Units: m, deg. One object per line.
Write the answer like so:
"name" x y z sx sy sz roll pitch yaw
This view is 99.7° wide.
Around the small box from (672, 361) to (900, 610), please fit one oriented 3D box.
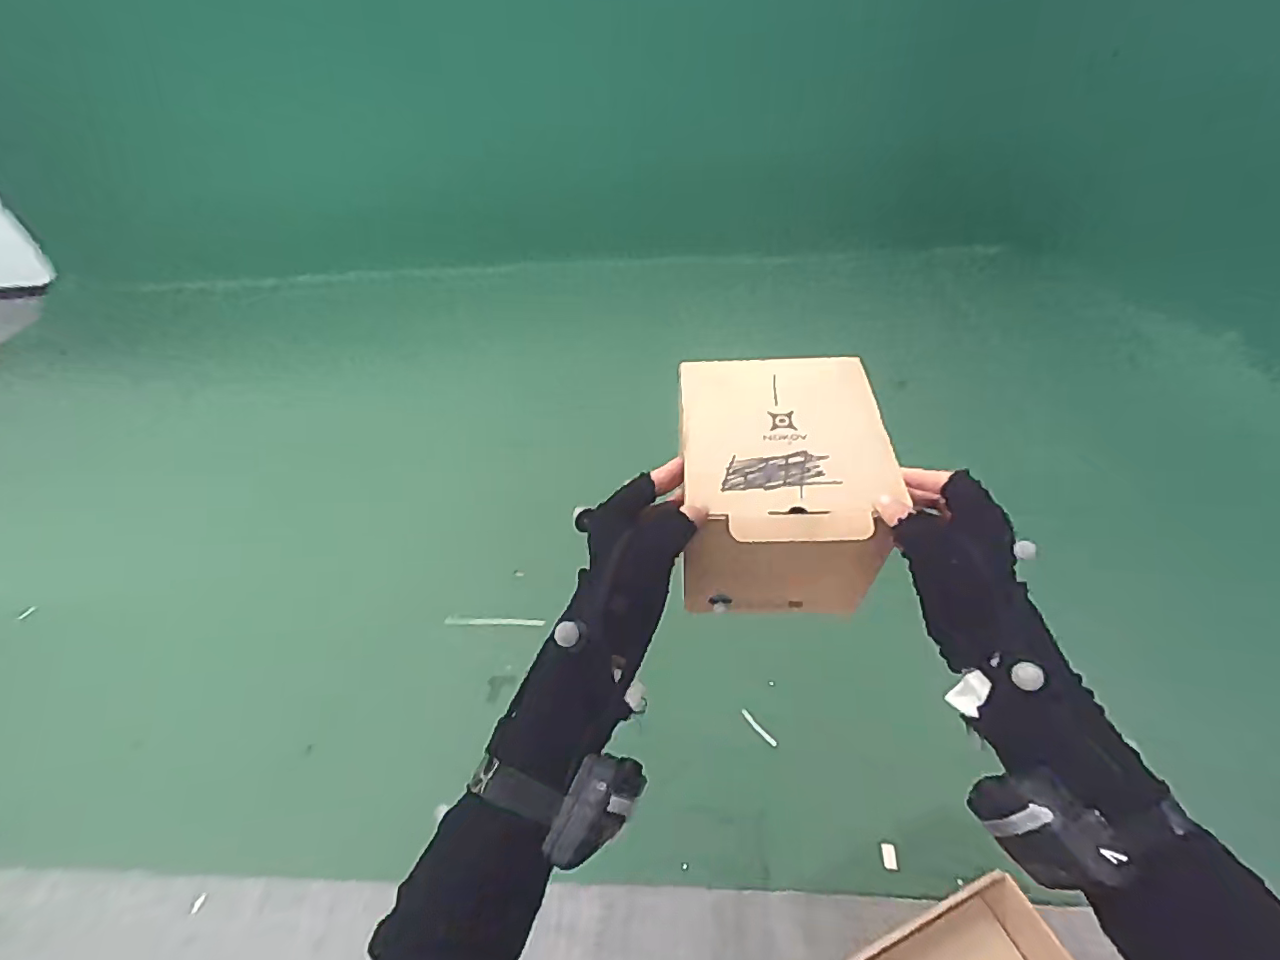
"small box" 0.115 0.011 0.508 0.168 0.176 0.179 -1 50 3
